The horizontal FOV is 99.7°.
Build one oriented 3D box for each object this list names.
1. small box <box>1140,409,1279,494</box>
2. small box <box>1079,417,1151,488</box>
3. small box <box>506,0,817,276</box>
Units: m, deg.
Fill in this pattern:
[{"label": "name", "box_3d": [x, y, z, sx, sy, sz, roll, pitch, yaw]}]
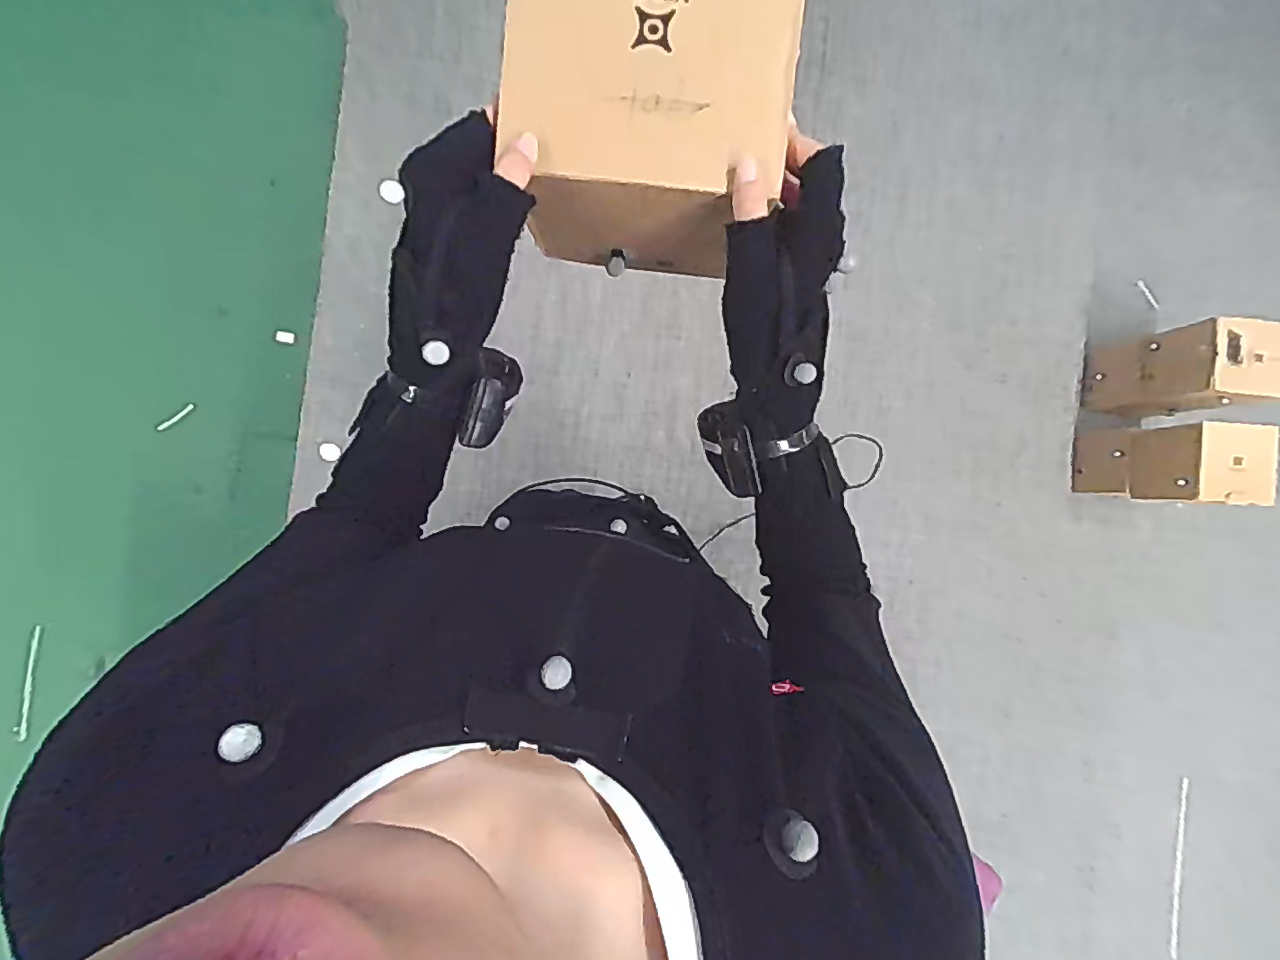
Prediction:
[{"label": "small box", "box_3d": [1.293, -0.060, 1.229, 0.168, 0.176, 0.179, 3, 90, 1]}, {"label": "small box", "box_3d": [1.291, -0.066, 1.392, 0.179, 0.176, 0.168, 4, 89, 0]}, {"label": "small box", "box_3d": [0.014, -0.261, 0.377, 0.168, 0.176, 0.179, 6, 96, 0]}]
